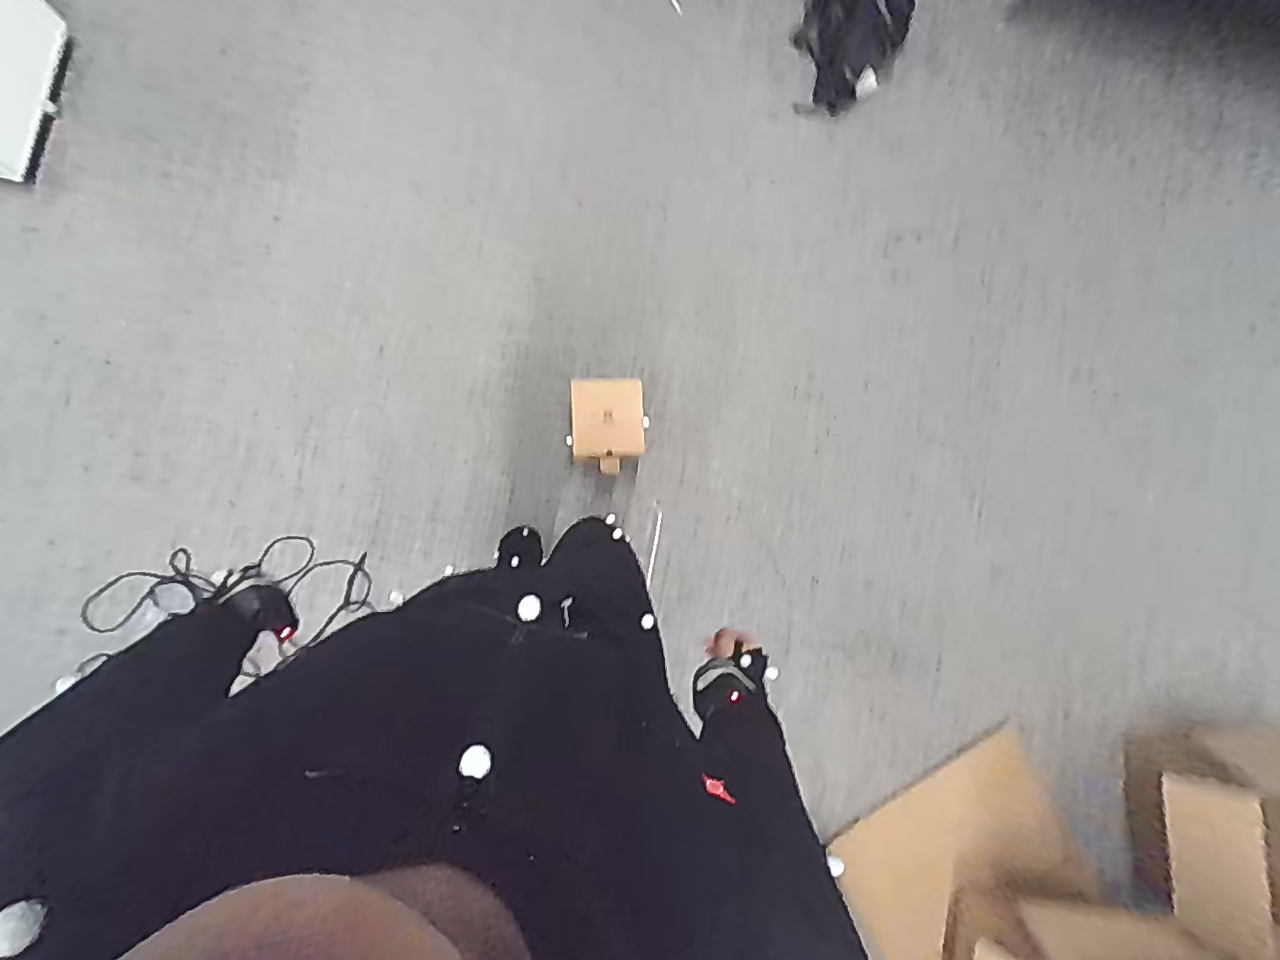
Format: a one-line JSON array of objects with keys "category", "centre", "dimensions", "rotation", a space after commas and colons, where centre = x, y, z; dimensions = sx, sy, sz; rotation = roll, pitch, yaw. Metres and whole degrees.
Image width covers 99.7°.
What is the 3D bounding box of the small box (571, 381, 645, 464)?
[{"category": "small box", "centre": [-0.083, -0.136, 1.316], "dimensions": [0.168, 0.176, 0.179], "rotation": [-2, 88, -7]}]
